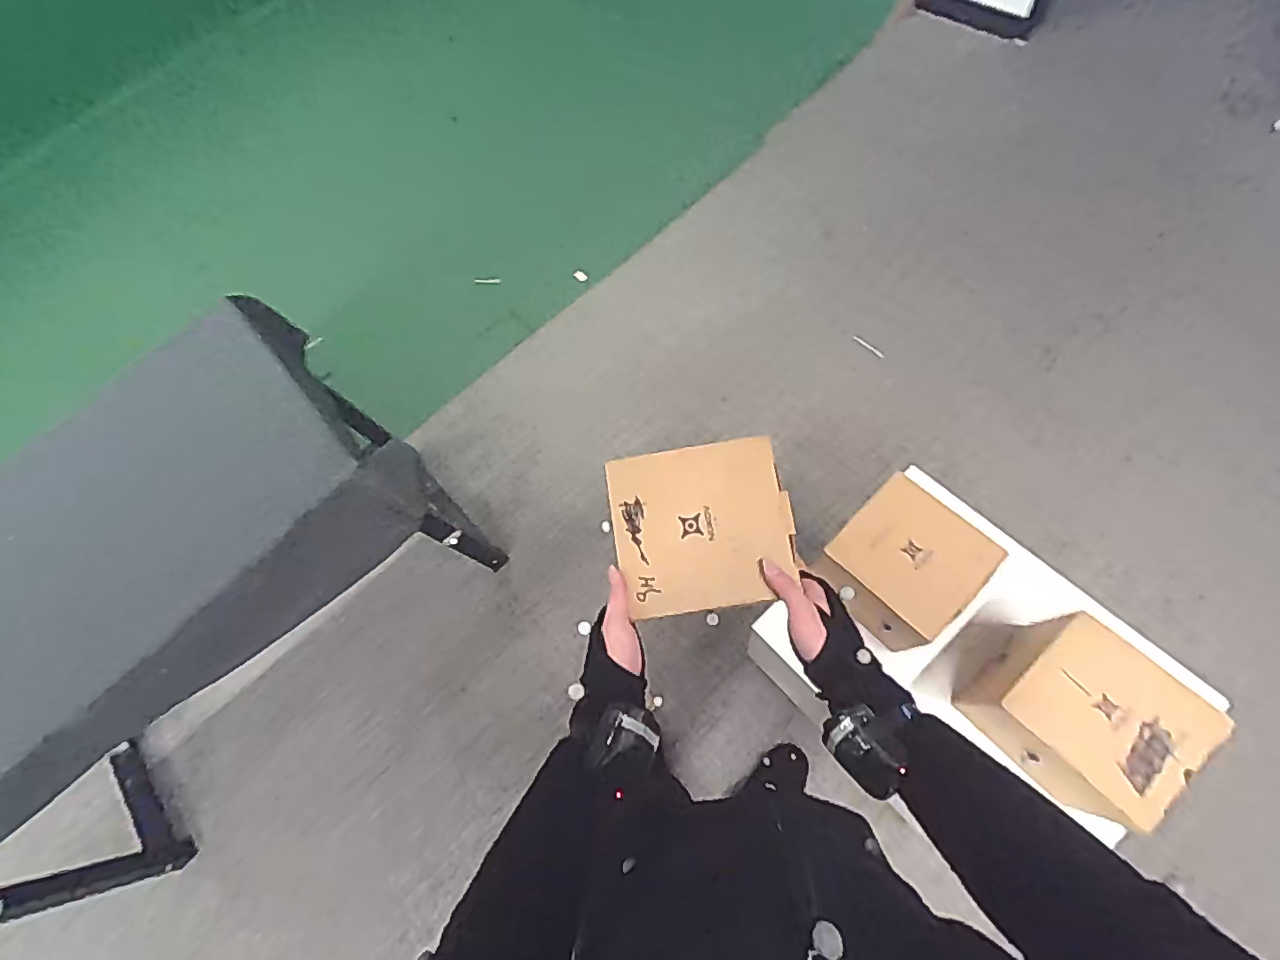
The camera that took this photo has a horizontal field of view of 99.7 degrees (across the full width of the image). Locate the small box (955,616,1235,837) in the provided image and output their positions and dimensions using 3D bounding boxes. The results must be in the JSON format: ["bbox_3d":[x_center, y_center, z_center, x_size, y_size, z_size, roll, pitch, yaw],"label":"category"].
[{"bbox_3d":[0.552,0.301,0.686,0.168,0.176,0.179,-41,66,-9],"label":"small box"}]

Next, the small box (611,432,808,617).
[{"bbox_3d":[0.068,0.059,0.606,0.179,0.176,0.168,-8,74,1],"label":"small box"}]

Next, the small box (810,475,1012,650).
[{"bbox_3d":[0.377,0.129,0.788,0.168,0.176,0.179,-42,68,-11],"label":"small box"}]
